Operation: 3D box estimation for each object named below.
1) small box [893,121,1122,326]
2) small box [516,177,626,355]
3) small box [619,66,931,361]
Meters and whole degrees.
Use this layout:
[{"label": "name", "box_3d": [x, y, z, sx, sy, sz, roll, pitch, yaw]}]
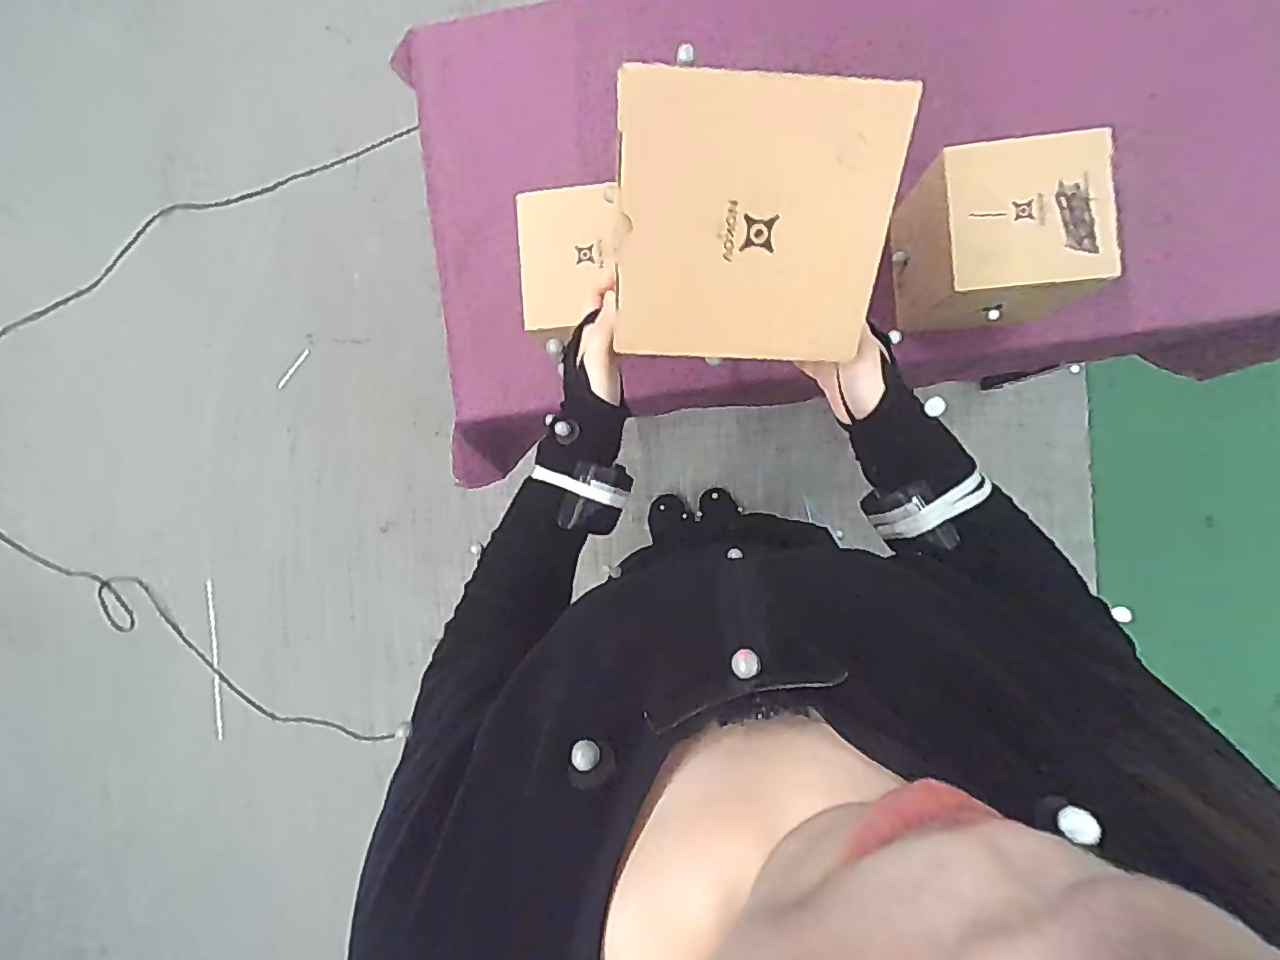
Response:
[{"label": "small box", "box_3d": [0.434, -0.298, 0.666, 0.179, 0.176, 0.168, -4, 90, 6]}, {"label": "small box", "box_3d": [-0.049, -0.267, 0.709, 0.179, 0.176, 0.168, -4, 91, 6]}, {"label": "small box", "box_3d": [0.076, -0.199, 0.412, 0.179, 0.176, 0.168, 2, 121, -1]}]
